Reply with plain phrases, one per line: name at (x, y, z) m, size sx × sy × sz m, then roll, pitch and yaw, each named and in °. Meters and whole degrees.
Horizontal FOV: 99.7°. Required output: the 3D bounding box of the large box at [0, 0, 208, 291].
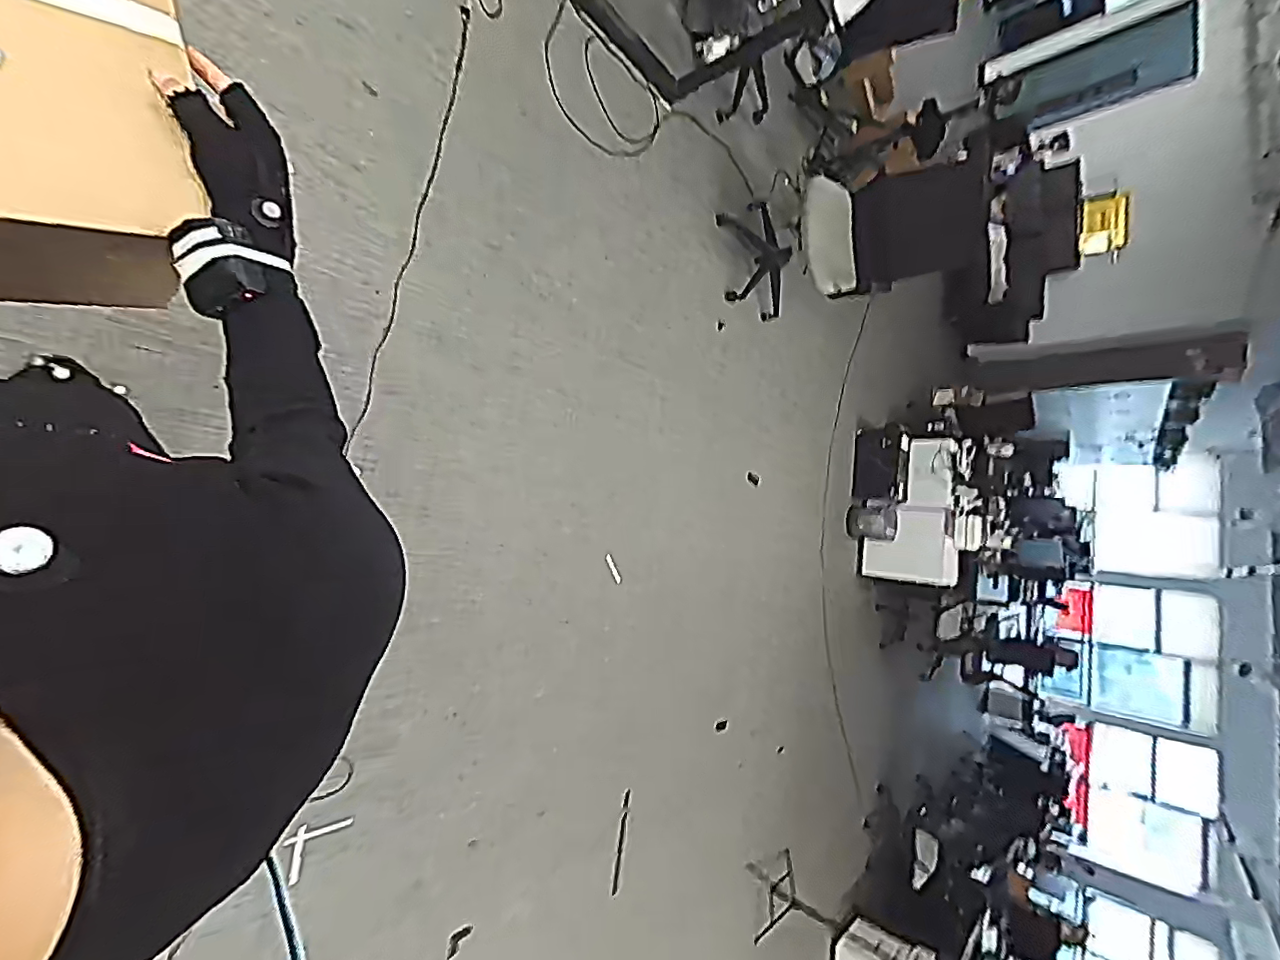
large box at (-0.630, -0.333, 0.396) m, size 0.408 × 0.320 × 0.320 m, roll -17°, pitch 105°, yaw -47°
